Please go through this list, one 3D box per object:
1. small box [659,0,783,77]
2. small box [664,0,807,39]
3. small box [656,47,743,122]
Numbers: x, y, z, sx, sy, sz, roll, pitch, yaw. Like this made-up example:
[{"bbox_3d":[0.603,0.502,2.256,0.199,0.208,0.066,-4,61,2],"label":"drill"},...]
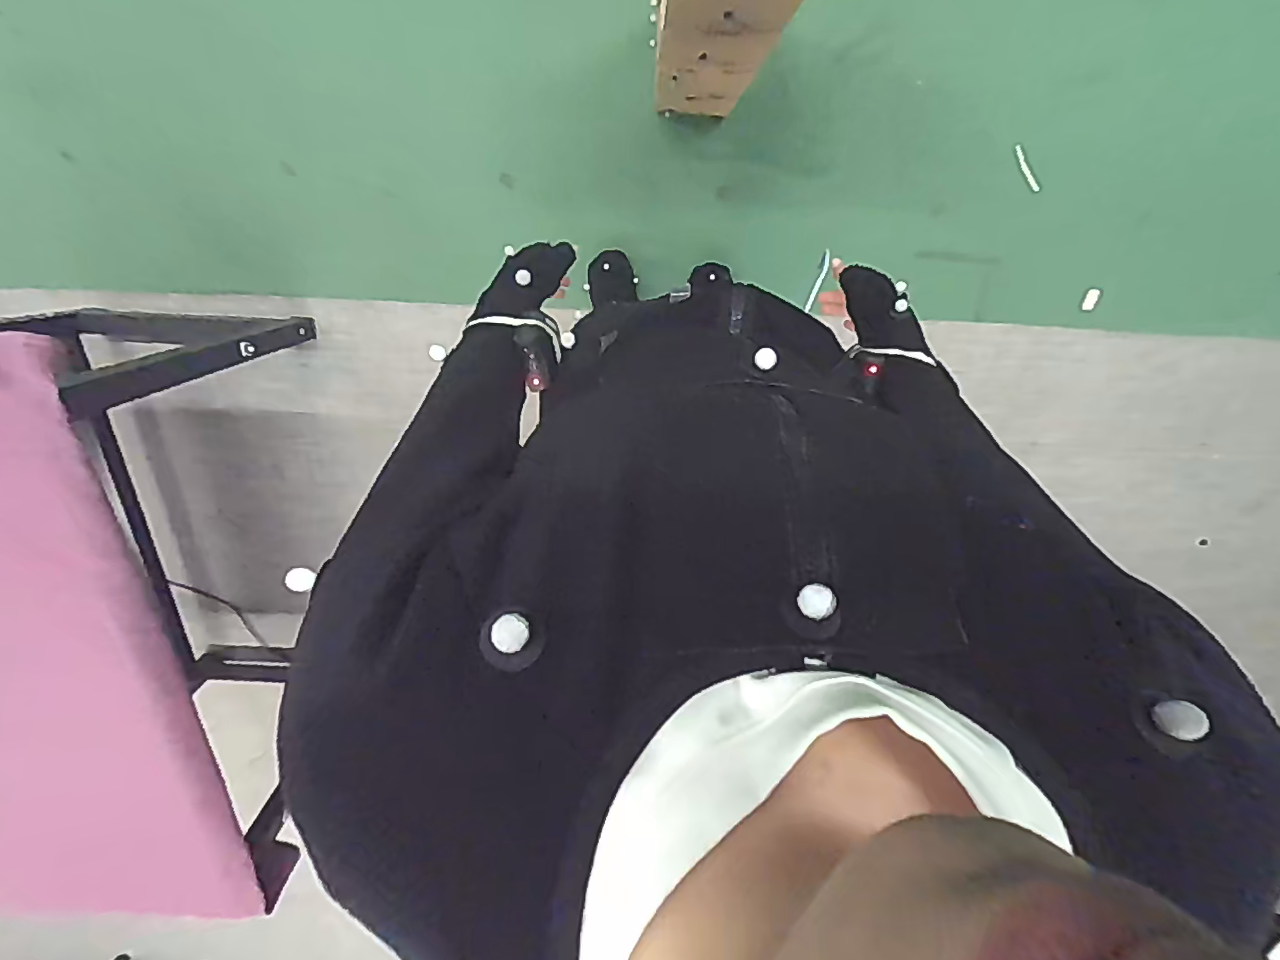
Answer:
[{"bbox_3d":[0.114,-0.715,0.783,0.168,0.176,0.179,0,114,0],"label":"small box"},{"bbox_3d":[0.114,-0.653,0.631,0.168,0.176,0.179,-1,114,0],"label":"small box"},{"bbox_3d":[0.120,-0.839,1.086,0.168,0.176,0.179,3,113,-1],"label":"small box"}]
